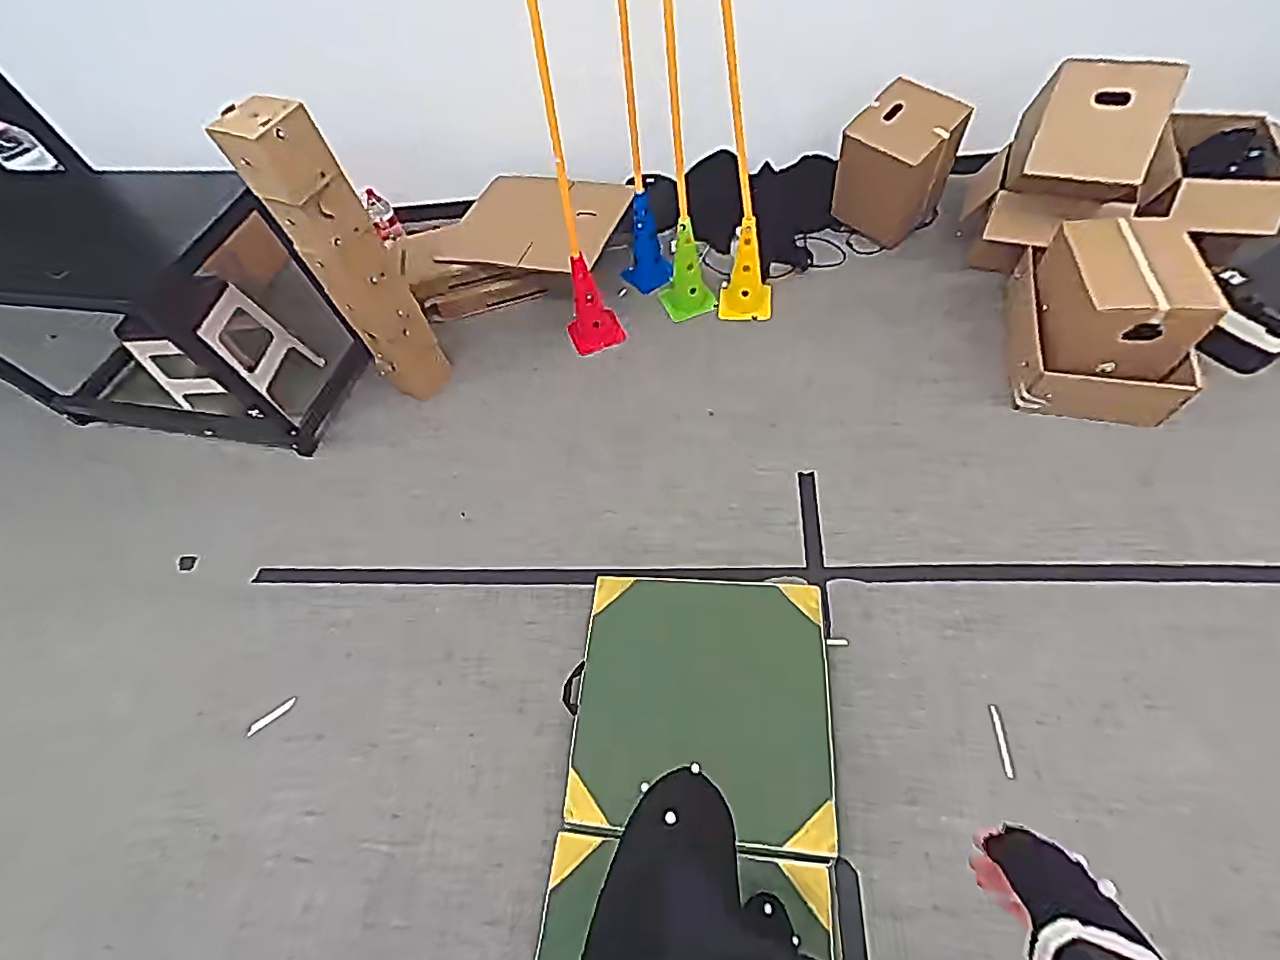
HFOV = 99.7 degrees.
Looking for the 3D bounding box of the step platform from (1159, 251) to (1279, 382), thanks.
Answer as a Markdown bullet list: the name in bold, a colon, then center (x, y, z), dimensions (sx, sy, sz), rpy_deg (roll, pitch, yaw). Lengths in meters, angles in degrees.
- **step platform**: center (2.104, -0.580, 1.746), dimensions (0.684, 0.204, 0.286), rpy_deg (-25, 58, -7)
